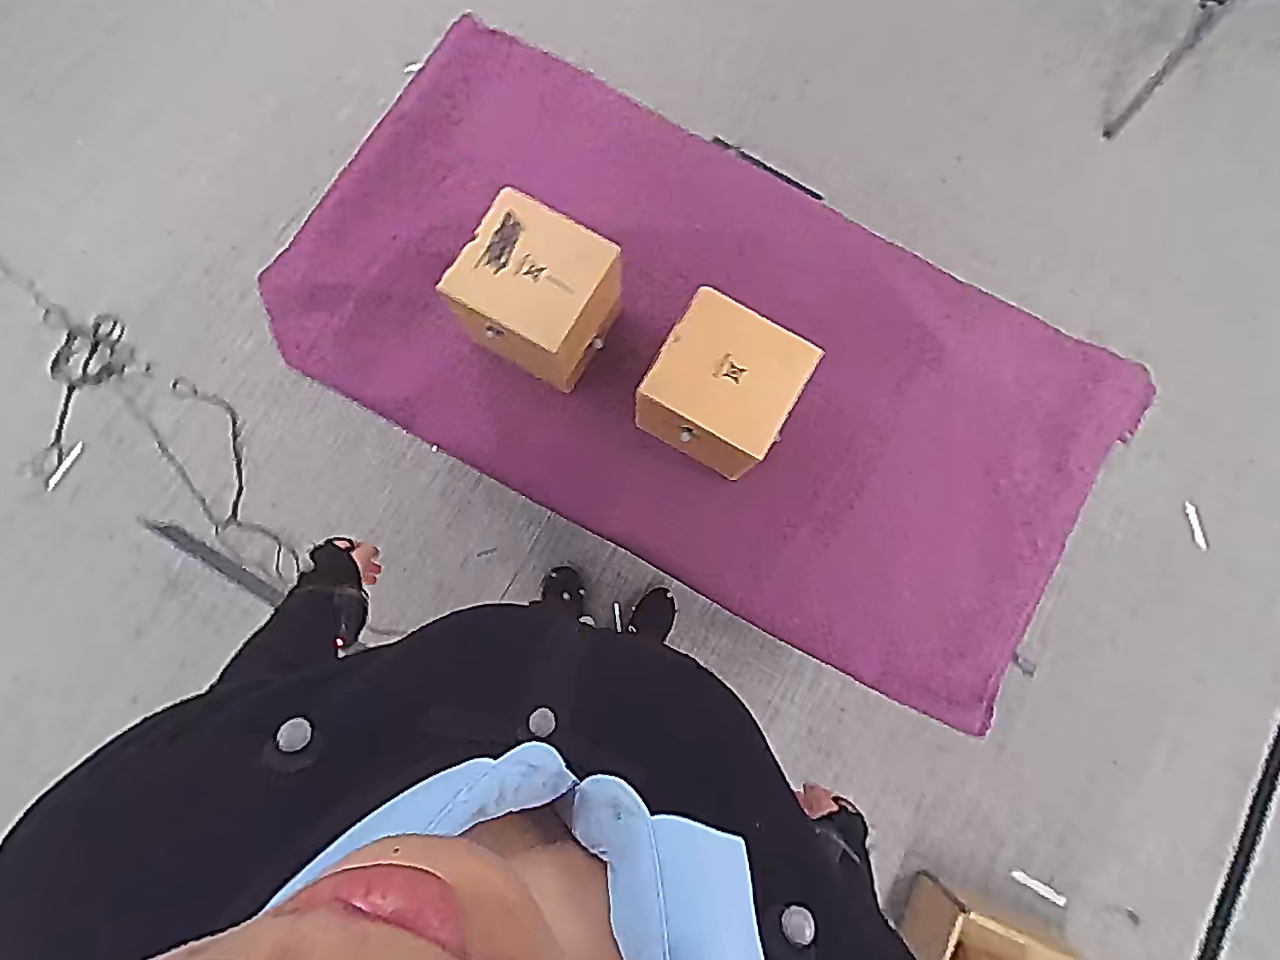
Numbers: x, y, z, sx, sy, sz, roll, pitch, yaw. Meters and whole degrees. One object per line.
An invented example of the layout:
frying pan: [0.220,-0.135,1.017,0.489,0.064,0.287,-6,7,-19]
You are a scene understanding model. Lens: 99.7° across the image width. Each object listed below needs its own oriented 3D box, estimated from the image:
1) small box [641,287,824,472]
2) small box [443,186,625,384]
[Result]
small box: [0.115,-0.123,0.748,0.179,0.176,0.168,31,82,4]
small box: [-0.136,-0.259,0.762,0.179,0.176,0.168,30,82,3]
